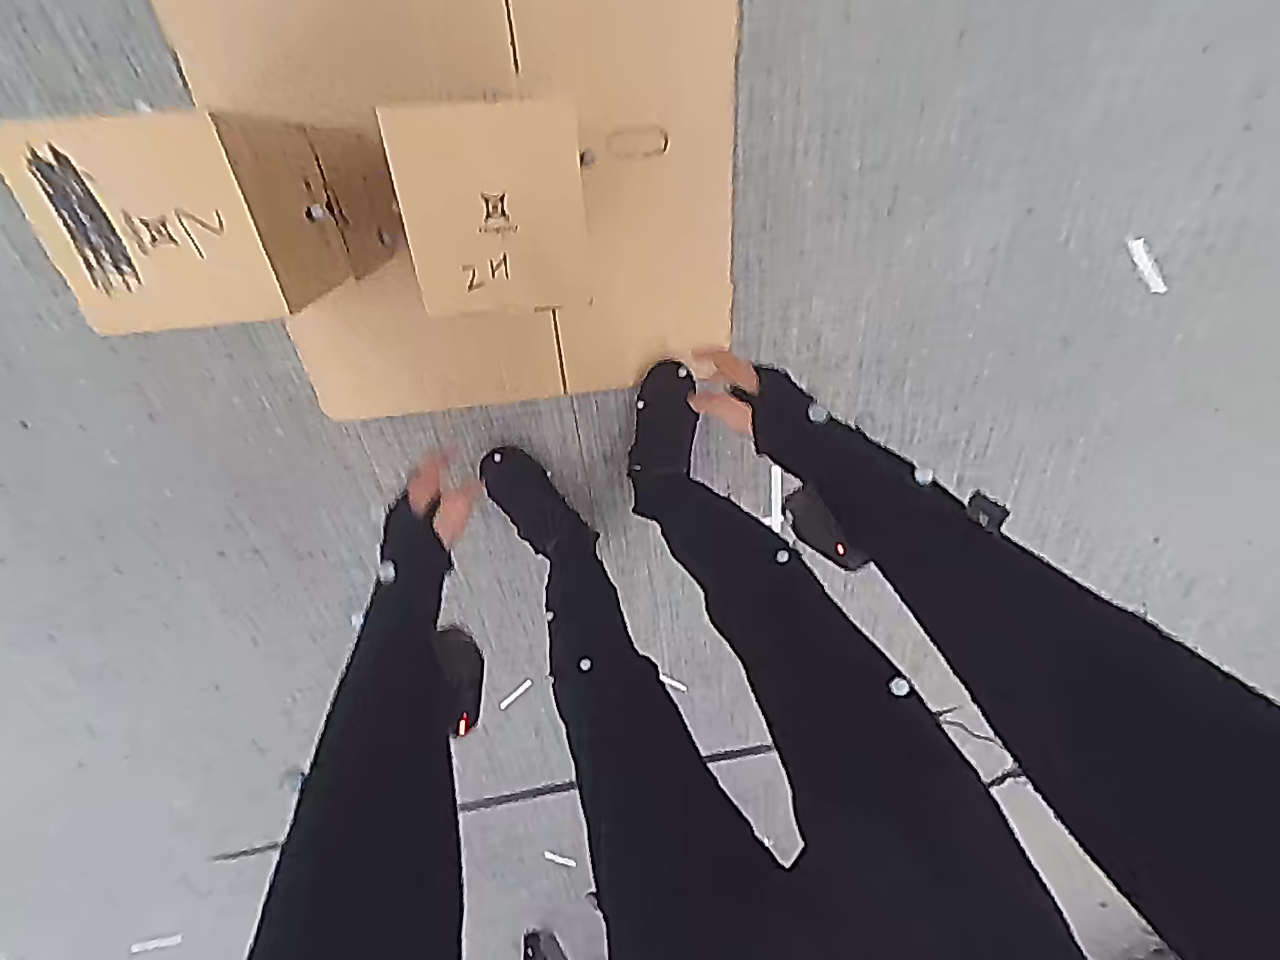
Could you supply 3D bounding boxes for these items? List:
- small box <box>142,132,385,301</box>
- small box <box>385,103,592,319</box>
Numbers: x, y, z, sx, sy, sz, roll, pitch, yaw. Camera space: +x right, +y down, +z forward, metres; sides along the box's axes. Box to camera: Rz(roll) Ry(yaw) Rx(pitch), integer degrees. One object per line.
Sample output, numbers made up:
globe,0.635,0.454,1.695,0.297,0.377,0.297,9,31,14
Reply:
small box,-0.441,-0.335,0.678,0.179,0.176,0.168,-7,122,-4
small box,-0.144,-0.283,0.569,0.168,0.176,0.179,-6,123,-6
